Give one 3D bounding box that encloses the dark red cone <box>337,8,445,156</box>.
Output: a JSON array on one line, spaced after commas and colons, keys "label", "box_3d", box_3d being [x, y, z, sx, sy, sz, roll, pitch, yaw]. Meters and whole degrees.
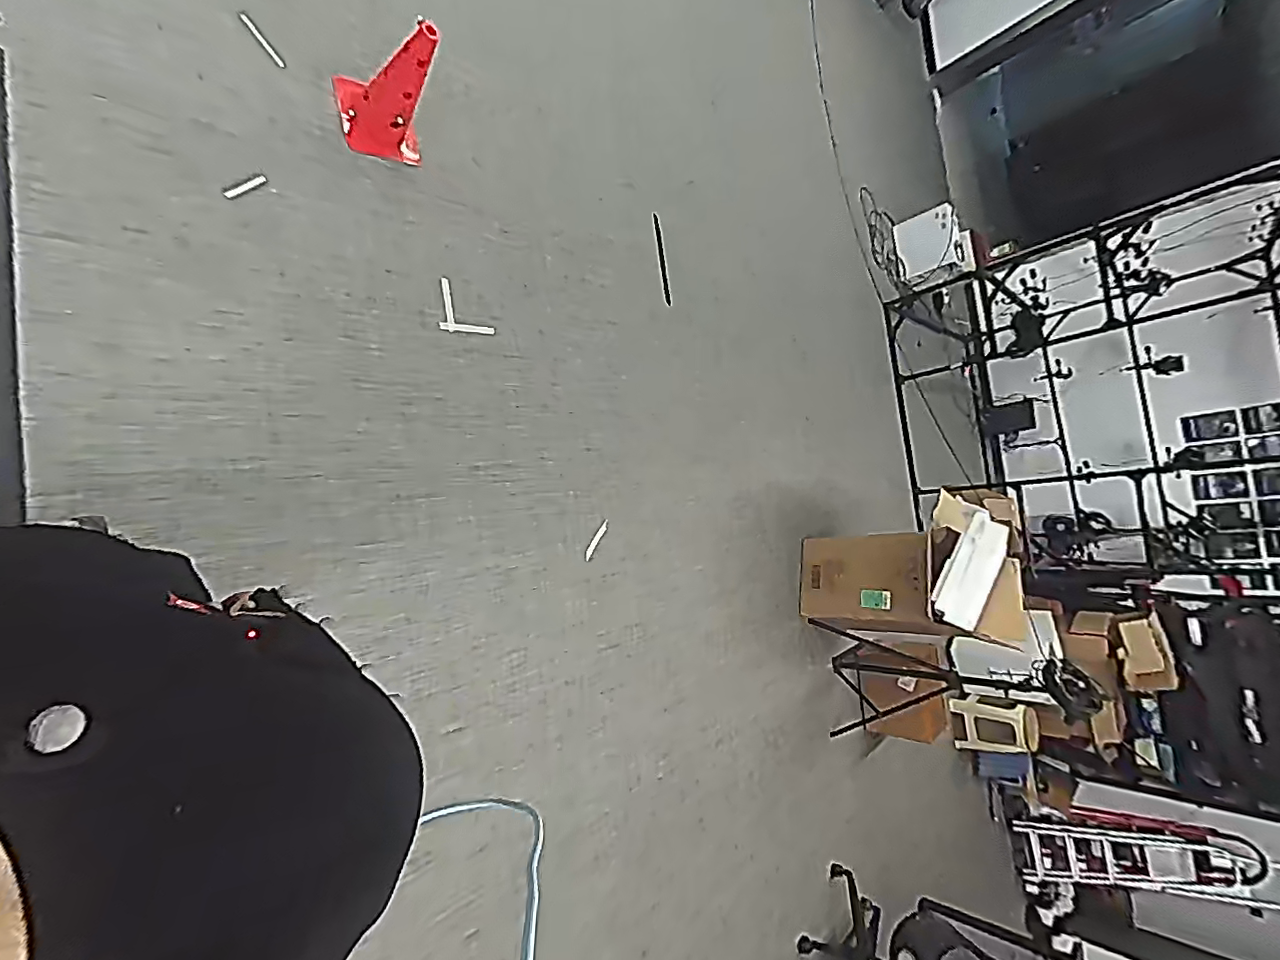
[{"label": "dark red cone", "box_3d": [-0.580, -1.003, 1.332, 0.201, 0.394, 0.202, -15, 93, -44]}]
